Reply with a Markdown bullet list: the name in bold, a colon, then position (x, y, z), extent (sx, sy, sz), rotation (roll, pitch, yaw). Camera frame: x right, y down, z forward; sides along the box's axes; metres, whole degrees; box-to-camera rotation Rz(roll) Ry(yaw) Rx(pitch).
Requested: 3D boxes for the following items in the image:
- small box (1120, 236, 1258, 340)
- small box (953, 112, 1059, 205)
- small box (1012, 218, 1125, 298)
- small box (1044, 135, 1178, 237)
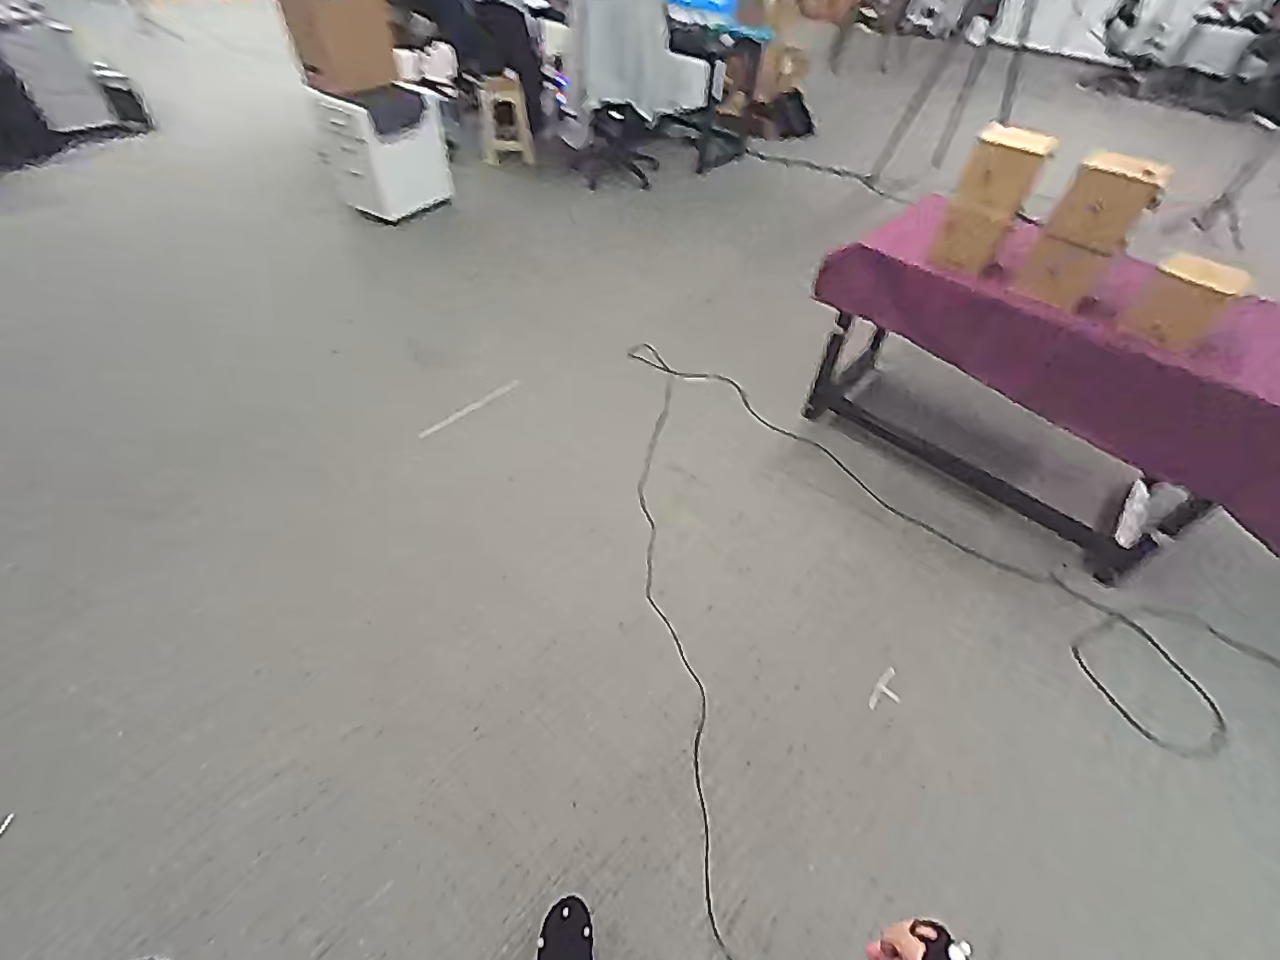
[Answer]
- **small box**: position (1.370, -0.482, 1.359), extent (0.179, 0.176, 0.168), rotation (-33, 57, -28)
- **small box**: position (0.985, -0.873, 1.469), extent (0.168, 0.176, 0.179), rotation (32, 54, 23)
- **small box**: position (1.165, -0.625, 1.478), extent (0.179, 0.176, 0.168), rotation (35, 56, 25)
- **small box**: position (1.169, -0.731, 1.351), extent (0.179, 0.176, 0.168), rotation (36, 56, 26)
